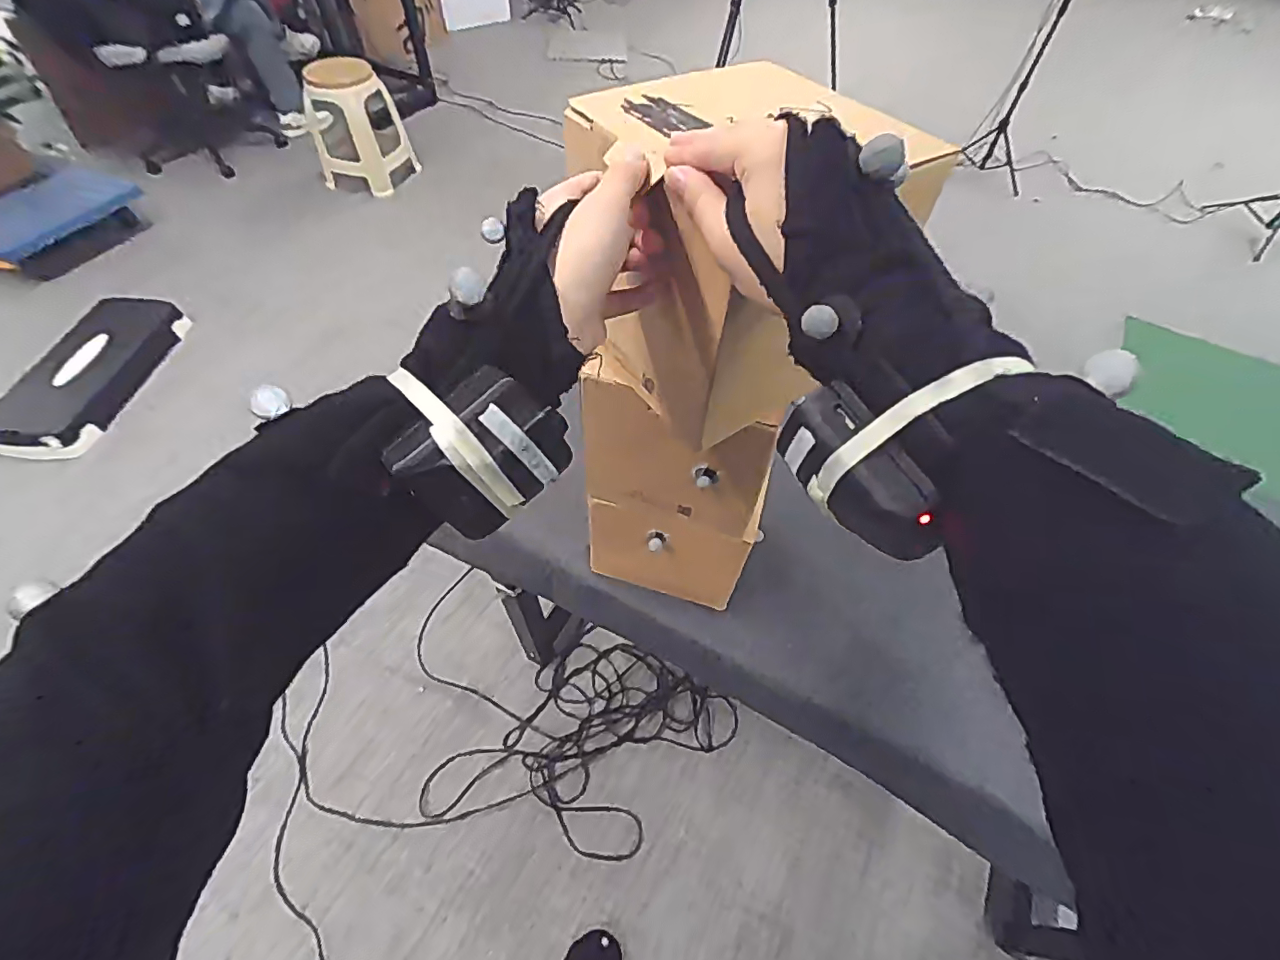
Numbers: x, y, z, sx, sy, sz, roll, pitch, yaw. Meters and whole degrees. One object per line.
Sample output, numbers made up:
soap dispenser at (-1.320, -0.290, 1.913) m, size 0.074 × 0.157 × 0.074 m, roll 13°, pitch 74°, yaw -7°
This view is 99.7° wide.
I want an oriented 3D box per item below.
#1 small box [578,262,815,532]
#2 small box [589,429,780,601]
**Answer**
small box at (0.053, -0.076, 0.525) m, size 0.168 × 0.176 × 0.179 m, roll 18°, pitch 53°, yaw 10°
small box at (0.052, 0.026, 0.652) m, size 0.179 × 0.176 × 0.168 m, roll 15°, pitch 54°, yaw 9°
